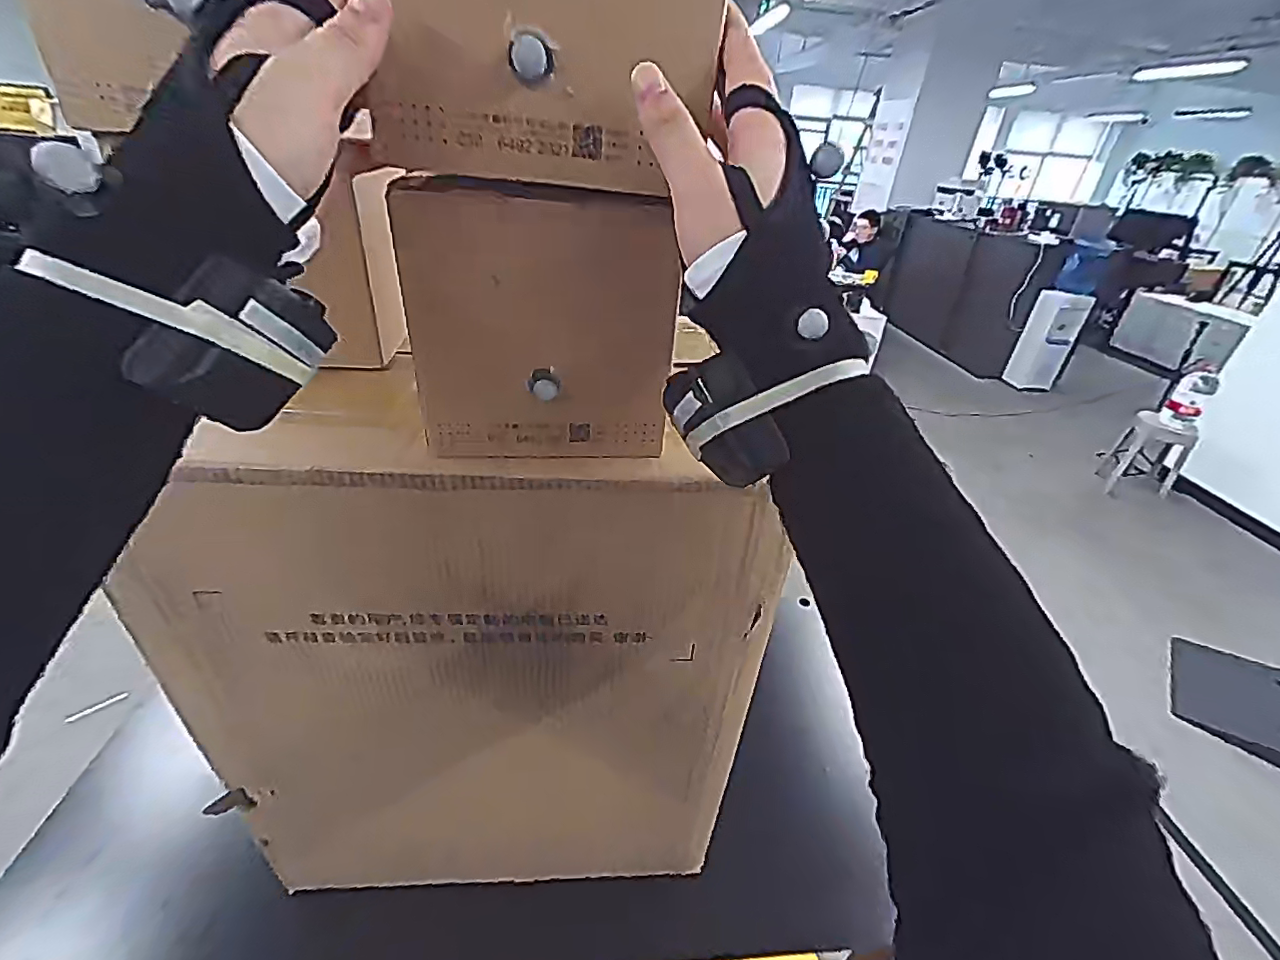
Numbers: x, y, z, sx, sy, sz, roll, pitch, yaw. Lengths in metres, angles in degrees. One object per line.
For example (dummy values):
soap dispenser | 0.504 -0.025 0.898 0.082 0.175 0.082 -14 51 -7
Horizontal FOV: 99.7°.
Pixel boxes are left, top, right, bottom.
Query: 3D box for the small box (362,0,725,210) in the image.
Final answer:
small box | -0.049 -0.261 0.303 0.168 0.176 0.179 2 33 -7

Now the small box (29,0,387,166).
small box | -0.299 -0.336 0.401 0.168 0.176 0.179 0 32 -8

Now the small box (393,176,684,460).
small box | -0.068 -0.130 0.415 0.168 0.176 0.179 -1 33 -7

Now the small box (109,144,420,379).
small box | -0.310 -0.205 0.500 0.168 0.176 0.179 -1 33 -10
